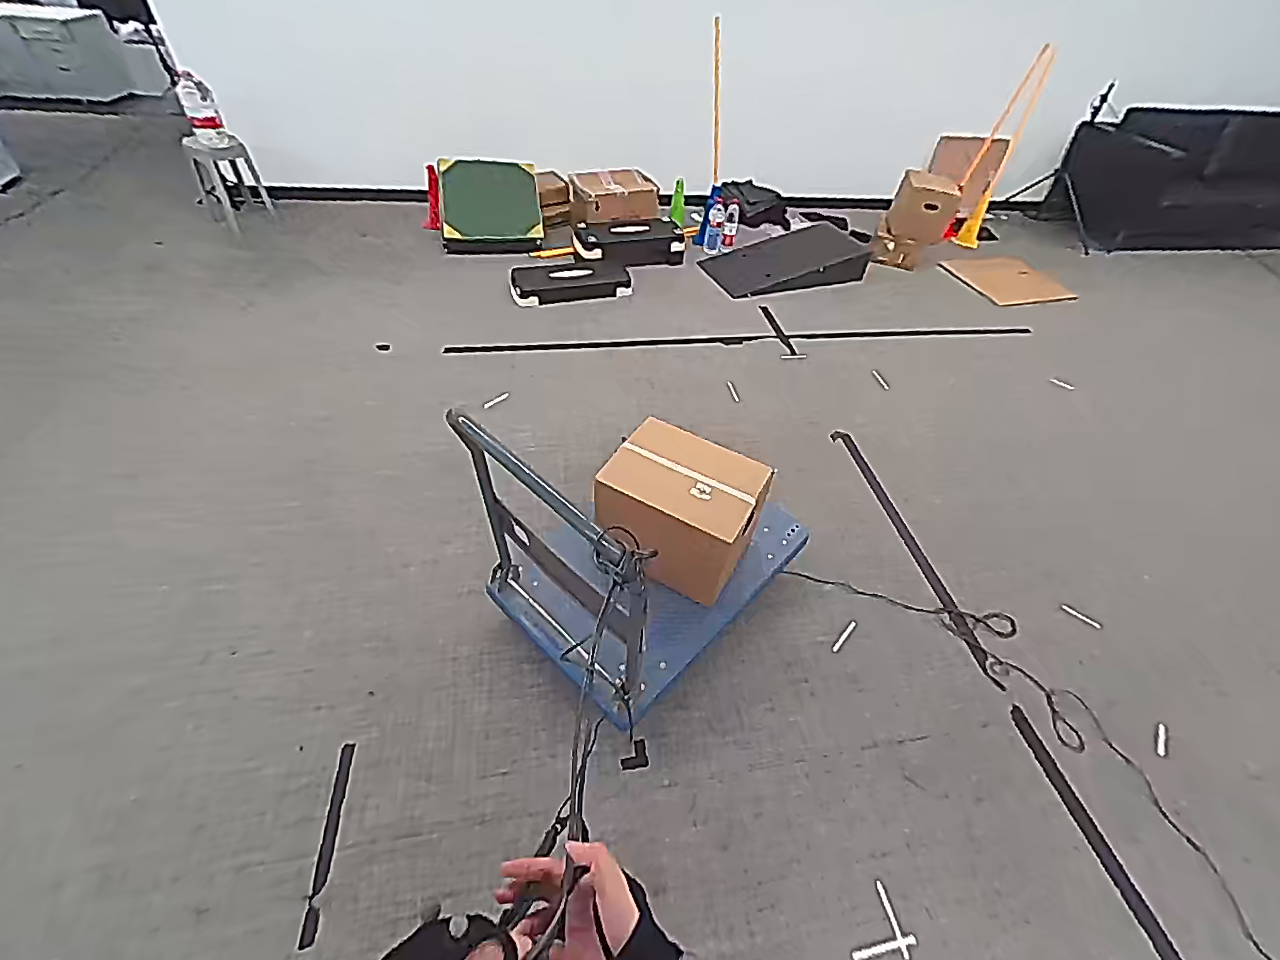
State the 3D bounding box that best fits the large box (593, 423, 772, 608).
[{"bbox_3d":[0.111,0.098,1.574,0.408,0.320,0.320,25,49,17],"label":"large box"}]
